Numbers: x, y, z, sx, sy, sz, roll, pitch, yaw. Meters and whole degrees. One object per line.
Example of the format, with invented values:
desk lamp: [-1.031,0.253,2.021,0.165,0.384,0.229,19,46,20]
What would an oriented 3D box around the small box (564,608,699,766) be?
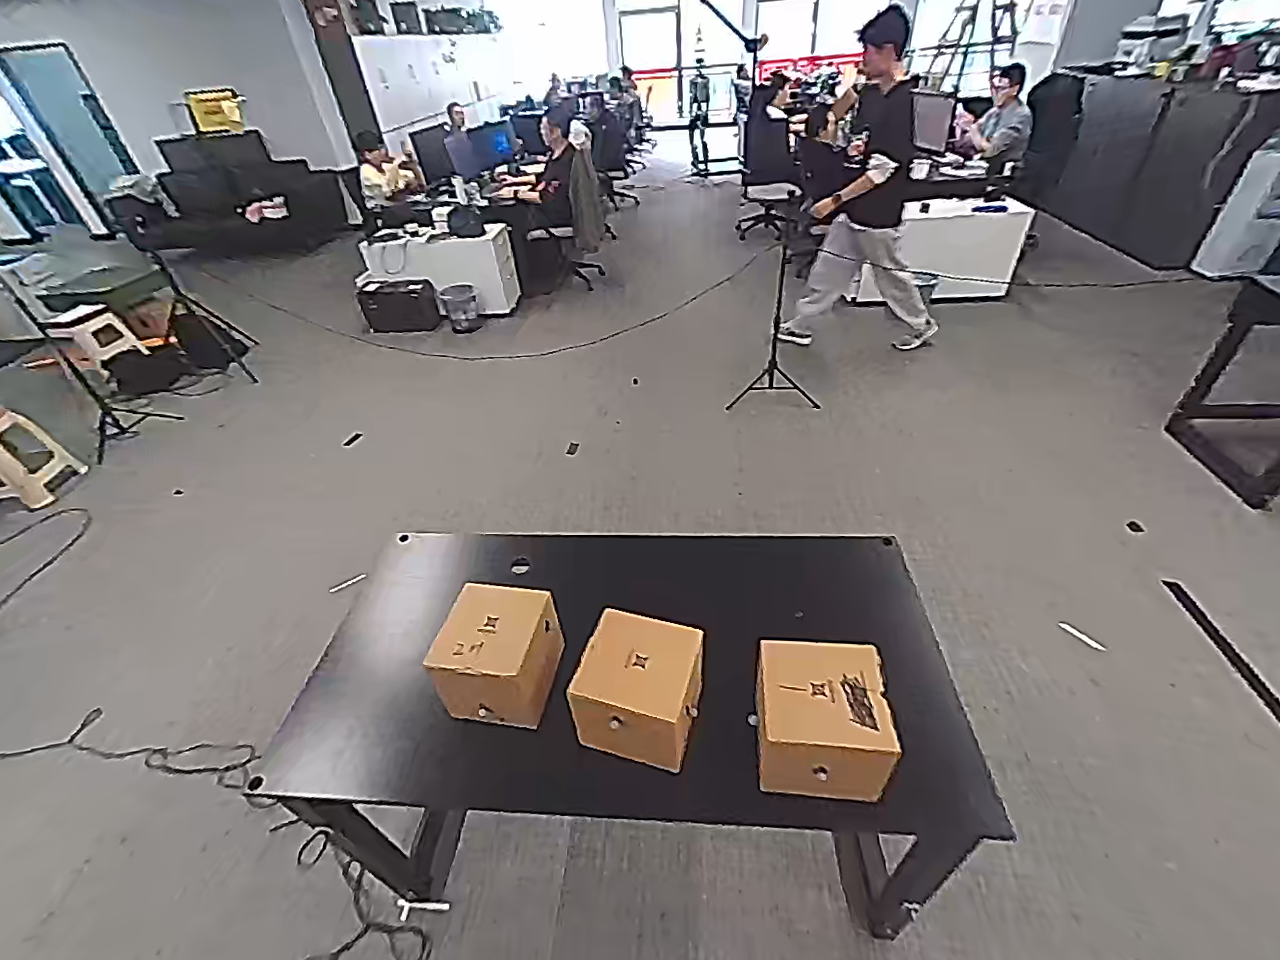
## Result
small box: [-0.002,0.345,0.898,0.179,0.176,0.168,8,40,17]

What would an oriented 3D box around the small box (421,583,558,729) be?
small box: [-0.254,0.311,0.967,0.168,0.176,0.179,3,40,11]

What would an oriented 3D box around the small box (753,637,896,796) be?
small box: [0.271,0.366,0.836,0.179,0.176,0.168,0,39,9]
